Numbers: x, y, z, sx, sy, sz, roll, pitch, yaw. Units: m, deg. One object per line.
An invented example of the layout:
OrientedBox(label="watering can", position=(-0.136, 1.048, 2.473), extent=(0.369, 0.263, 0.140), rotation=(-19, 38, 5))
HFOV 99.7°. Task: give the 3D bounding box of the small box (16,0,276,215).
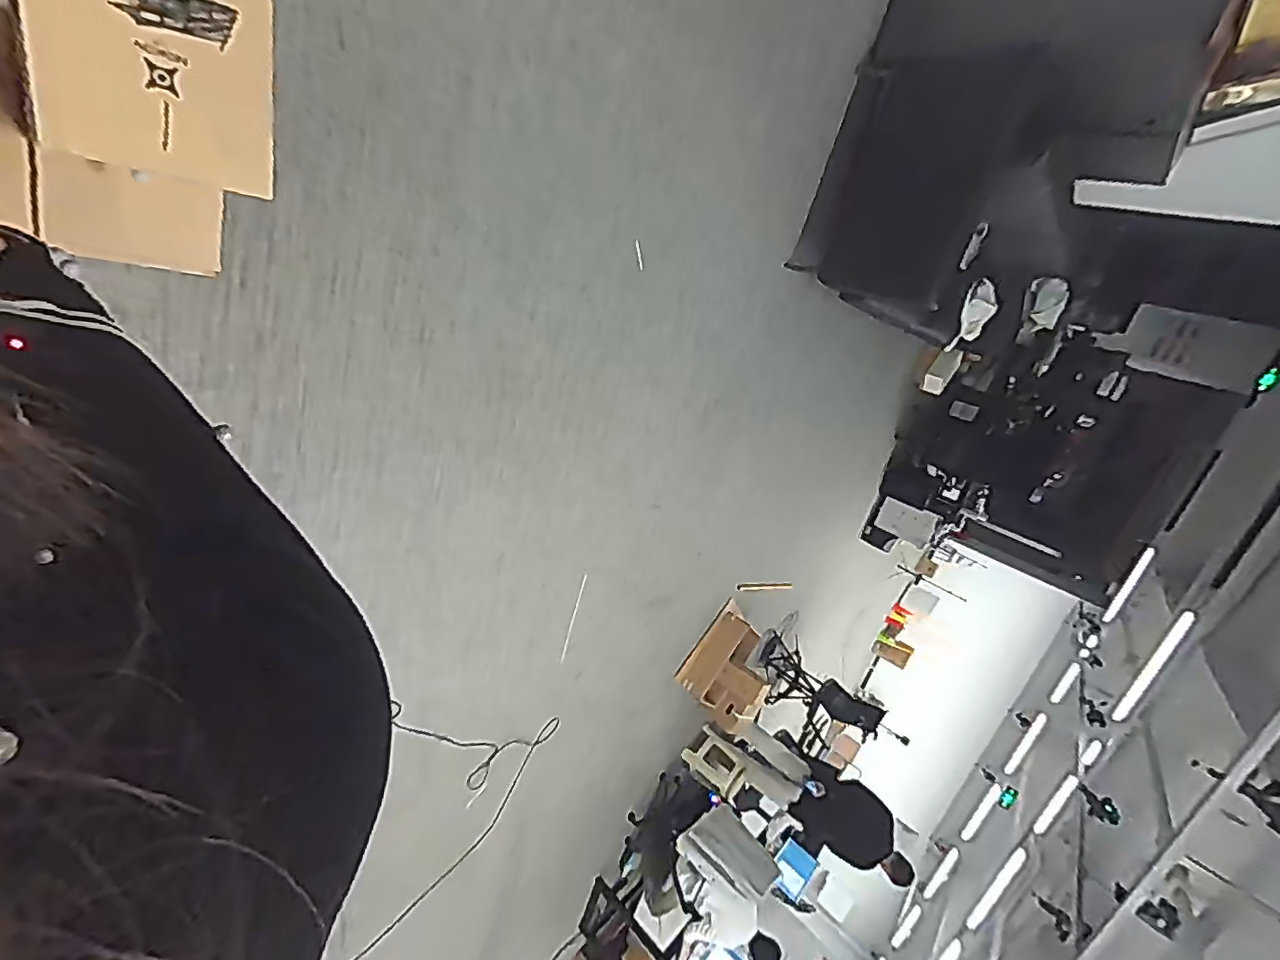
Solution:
OrientedBox(label="small box", position=(-0.478, -0.384, 0.529), extent=(0.168, 0.176, 0.179), rotation=(-8, 121, -47))
